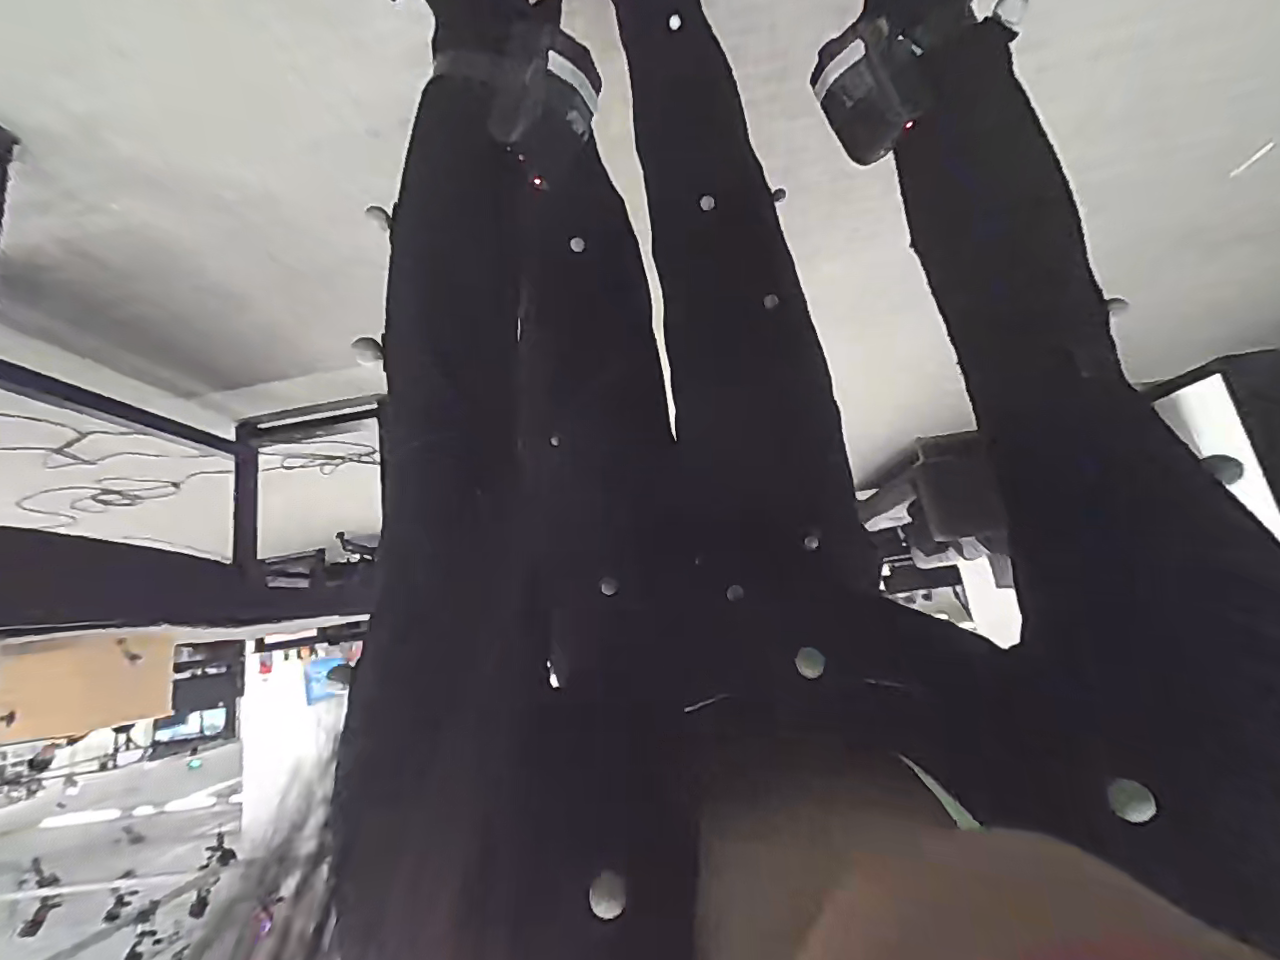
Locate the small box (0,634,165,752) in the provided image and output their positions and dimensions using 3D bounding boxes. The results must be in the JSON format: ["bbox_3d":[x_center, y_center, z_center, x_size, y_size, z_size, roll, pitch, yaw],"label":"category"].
[{"bbox_3d":[-1.009,0.376,0.979,0.179,0.176,0.168,-9,168,4],"label":"small box"}]
